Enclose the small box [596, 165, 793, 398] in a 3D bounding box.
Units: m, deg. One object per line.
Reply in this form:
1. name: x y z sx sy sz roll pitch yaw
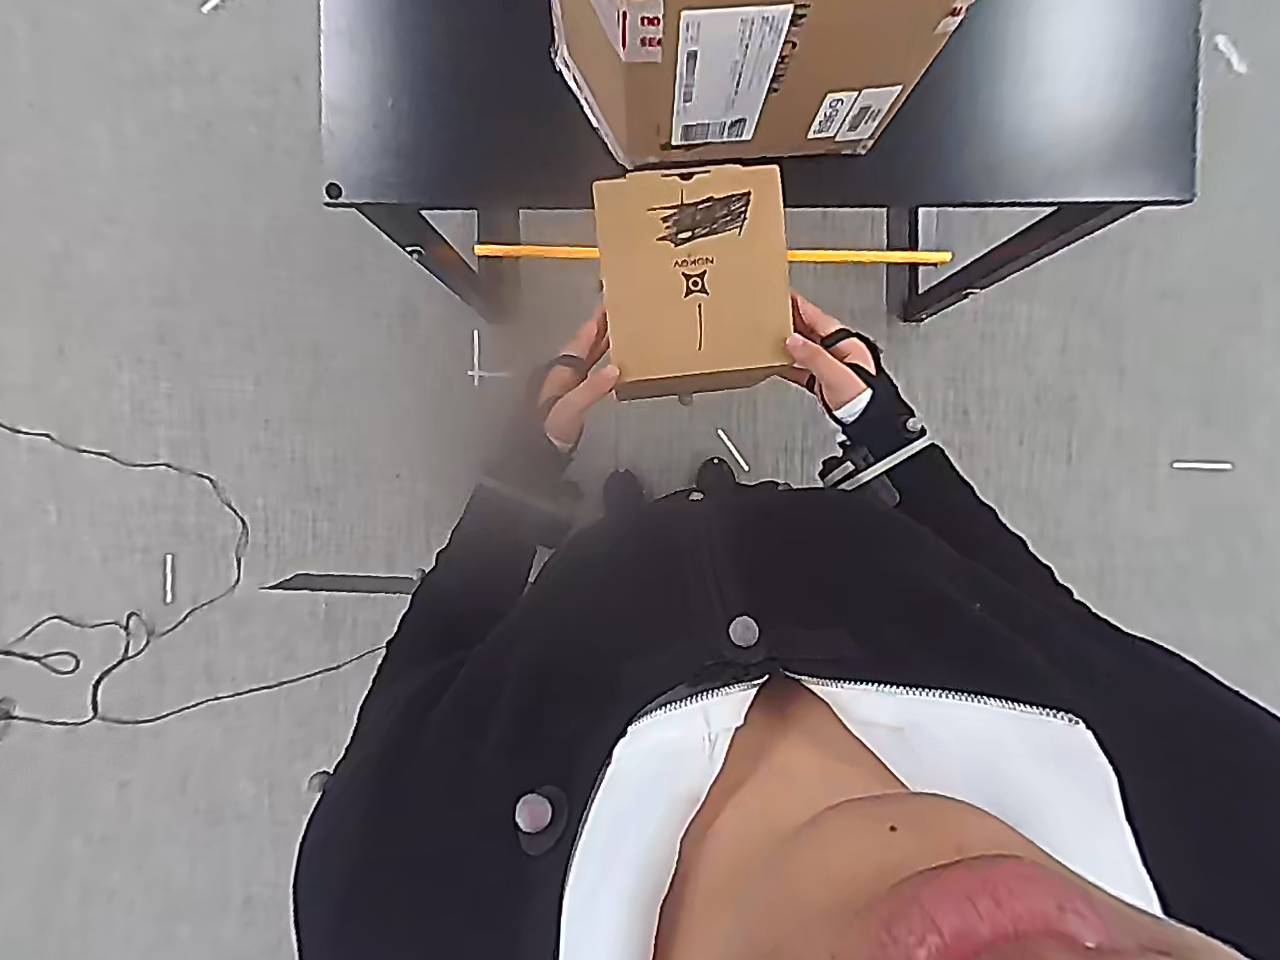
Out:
1. small box: 0.046 -0.187 0.556 0.168 0.176 0.179 -6 93 -1
